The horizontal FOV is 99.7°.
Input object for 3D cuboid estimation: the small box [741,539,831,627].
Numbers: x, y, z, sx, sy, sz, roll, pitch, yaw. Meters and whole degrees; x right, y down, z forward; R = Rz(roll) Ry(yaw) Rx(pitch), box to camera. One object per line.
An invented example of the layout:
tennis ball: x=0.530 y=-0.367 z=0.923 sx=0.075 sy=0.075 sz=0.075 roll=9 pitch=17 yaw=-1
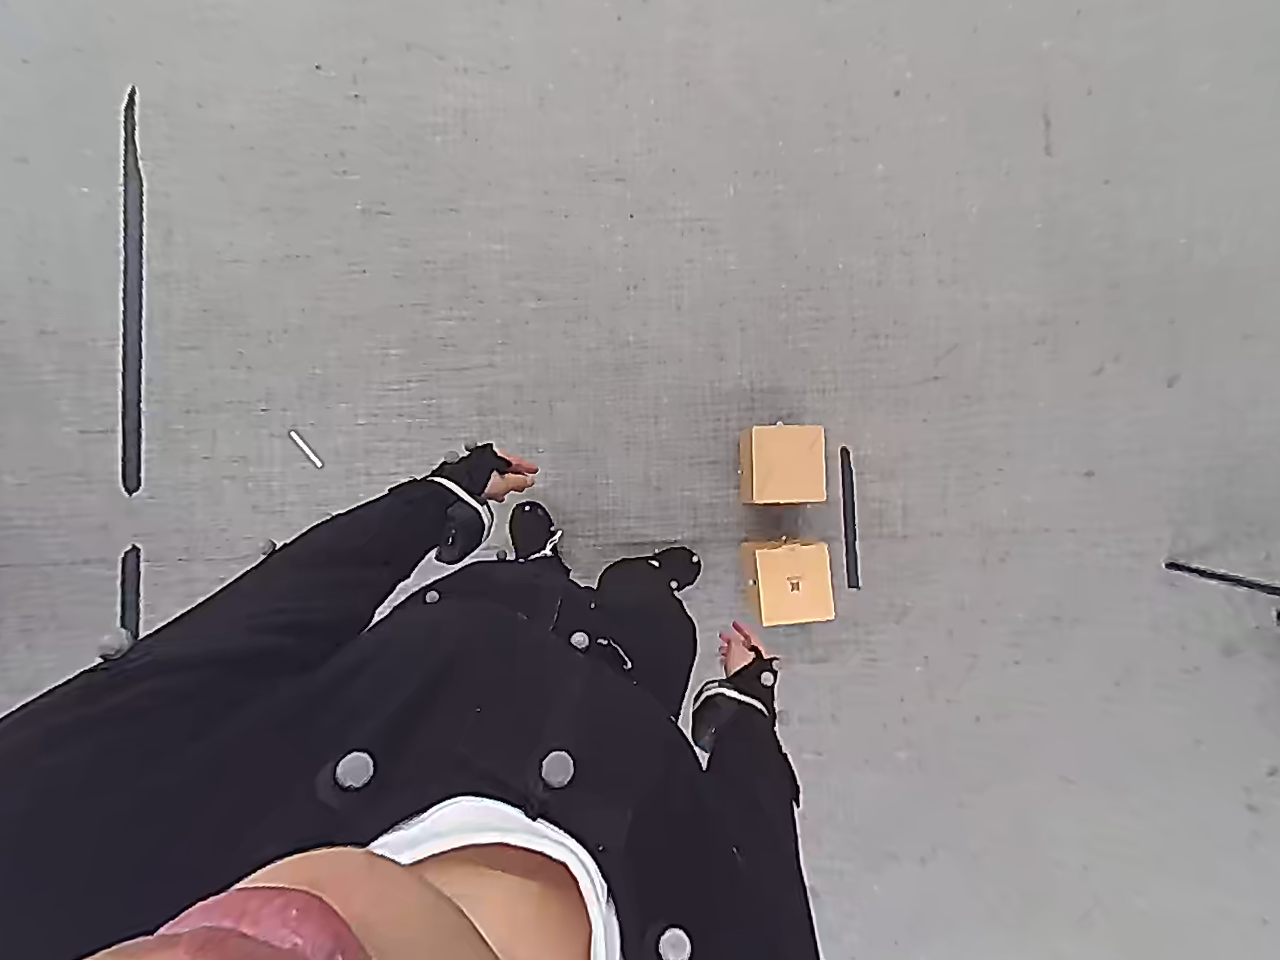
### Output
small box: x=0.345 y=0.242 z=1.301 sx=0.168 sy=0.176 sz=0.179 roll=-6 pitch=88 yaw=0

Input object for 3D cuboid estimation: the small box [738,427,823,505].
small box: x=0.334 y=-0.029 z=1.304 sx=0.168 sy=0.176 sz=0.179 roll=-1 pitch=89 yaw=0
